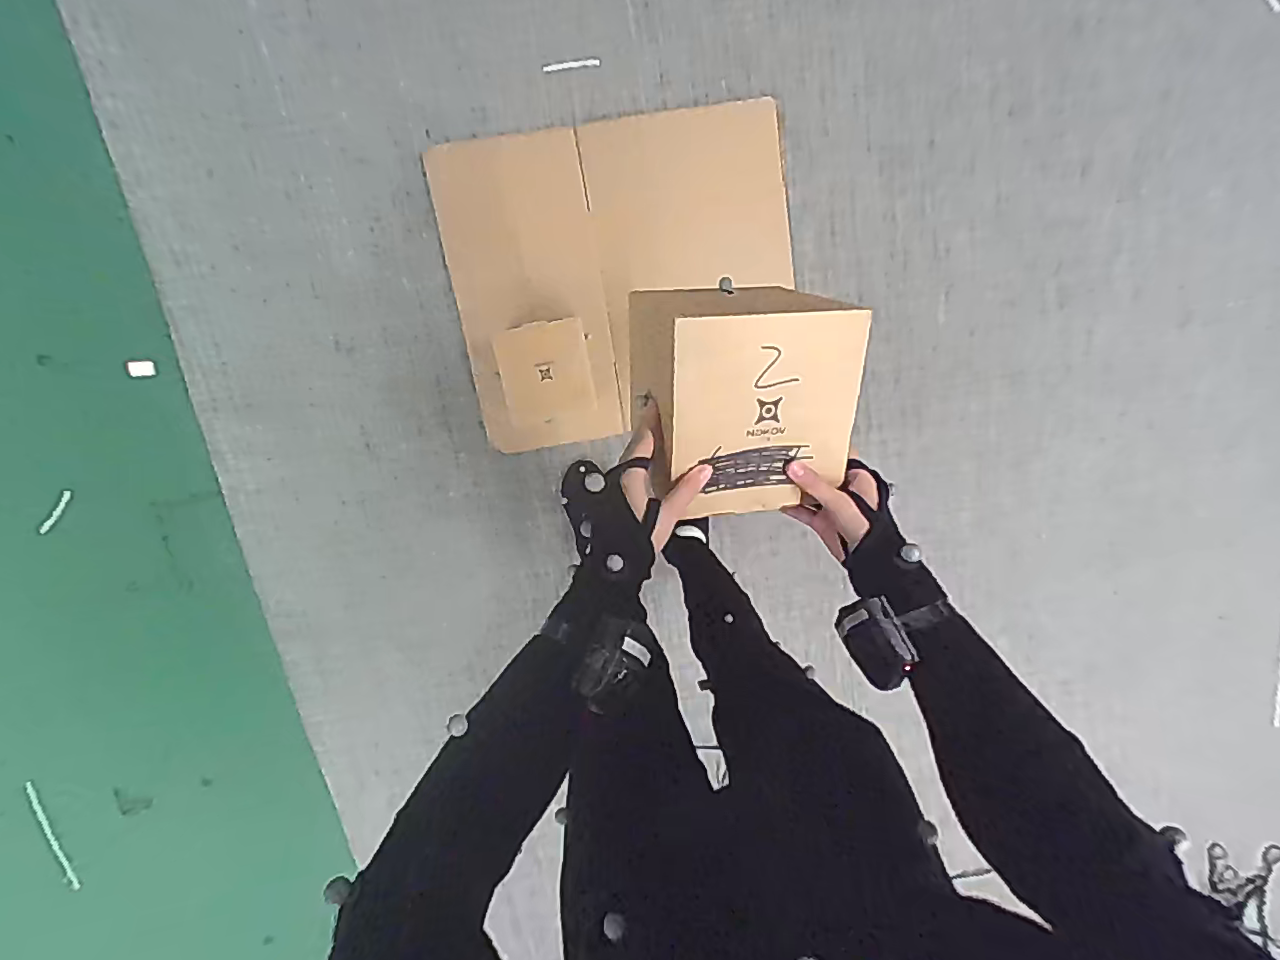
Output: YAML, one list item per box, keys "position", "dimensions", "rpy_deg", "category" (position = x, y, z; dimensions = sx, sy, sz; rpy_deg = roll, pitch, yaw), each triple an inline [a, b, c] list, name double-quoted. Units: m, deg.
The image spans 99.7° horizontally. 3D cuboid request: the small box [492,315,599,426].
- position: [-0.174, -0.214, 1.055]
  dimensions: [0.168, 0.176, 0.179]
  rpy_deg: [-12, 102, -2]
  category: "small box"
